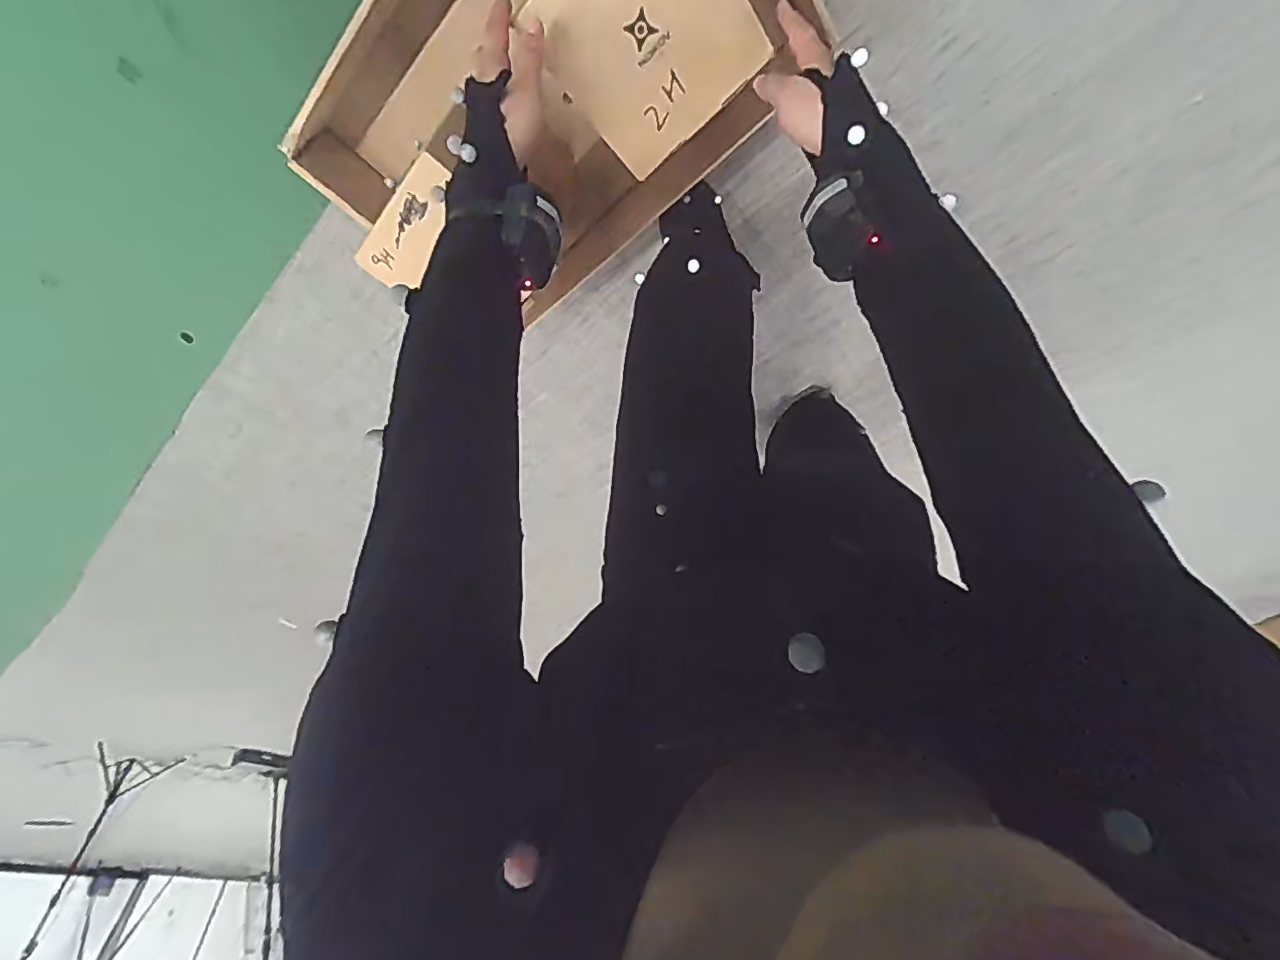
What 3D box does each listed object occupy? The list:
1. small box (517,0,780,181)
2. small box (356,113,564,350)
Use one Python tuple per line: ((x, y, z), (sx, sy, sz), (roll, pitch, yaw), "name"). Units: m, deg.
((0.007, -0.444, 0.524), (0.168, 0.176, 0.179), (-30, 132, 30), "small box")
((-0.209, -0.306, 0.674), (0.168, 0.176, 0.179), (-33, 131, 31), "small box")
